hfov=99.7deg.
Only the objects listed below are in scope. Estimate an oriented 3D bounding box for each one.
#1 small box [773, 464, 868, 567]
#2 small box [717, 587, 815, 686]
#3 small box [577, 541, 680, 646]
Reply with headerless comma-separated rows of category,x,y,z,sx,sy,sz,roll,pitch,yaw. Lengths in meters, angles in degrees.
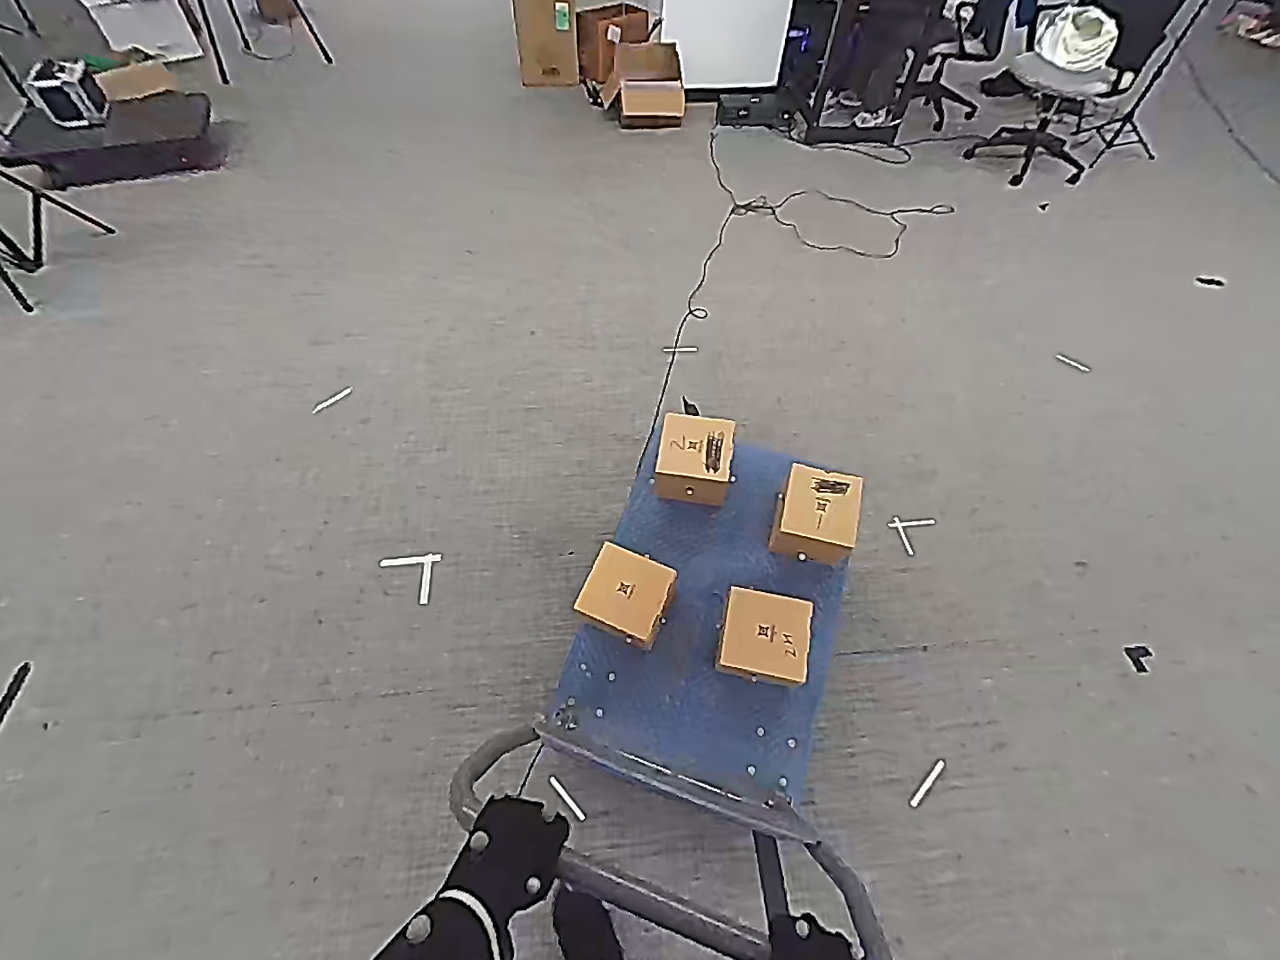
small box,0.425,0.090,1.292,0.168,0.176,0.179,14,69,9
small box,0.270,0.349,1.187,0.179,0.176,0.168,11,68,8
small box,-0.022,0.267,1.240,0.179,0.176,0.168,22,69,11
